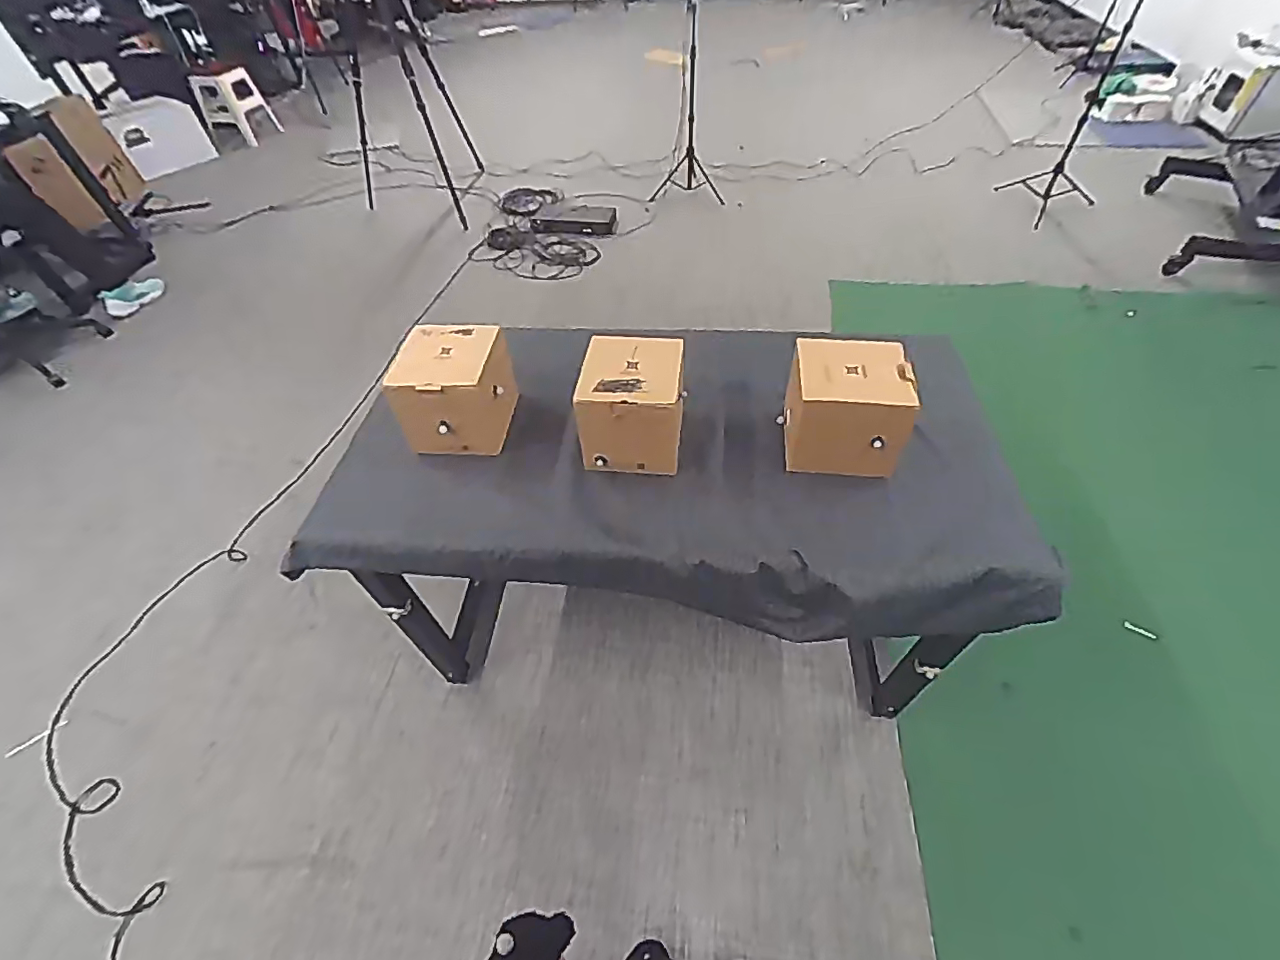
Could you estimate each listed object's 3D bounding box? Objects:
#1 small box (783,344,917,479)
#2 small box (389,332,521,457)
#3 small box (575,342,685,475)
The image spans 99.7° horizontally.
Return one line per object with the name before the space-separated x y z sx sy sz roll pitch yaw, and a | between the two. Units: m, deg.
small box | 0.351 -0.117 0.939 0.179 0.176 0.168 2 49 8
small box | -0.334 -0.158 1.019 0.168 0.176 0.179 1 51 5
small box | -0.008 -0.126 0.969 0.168 0.176 0.179 4 49 7
